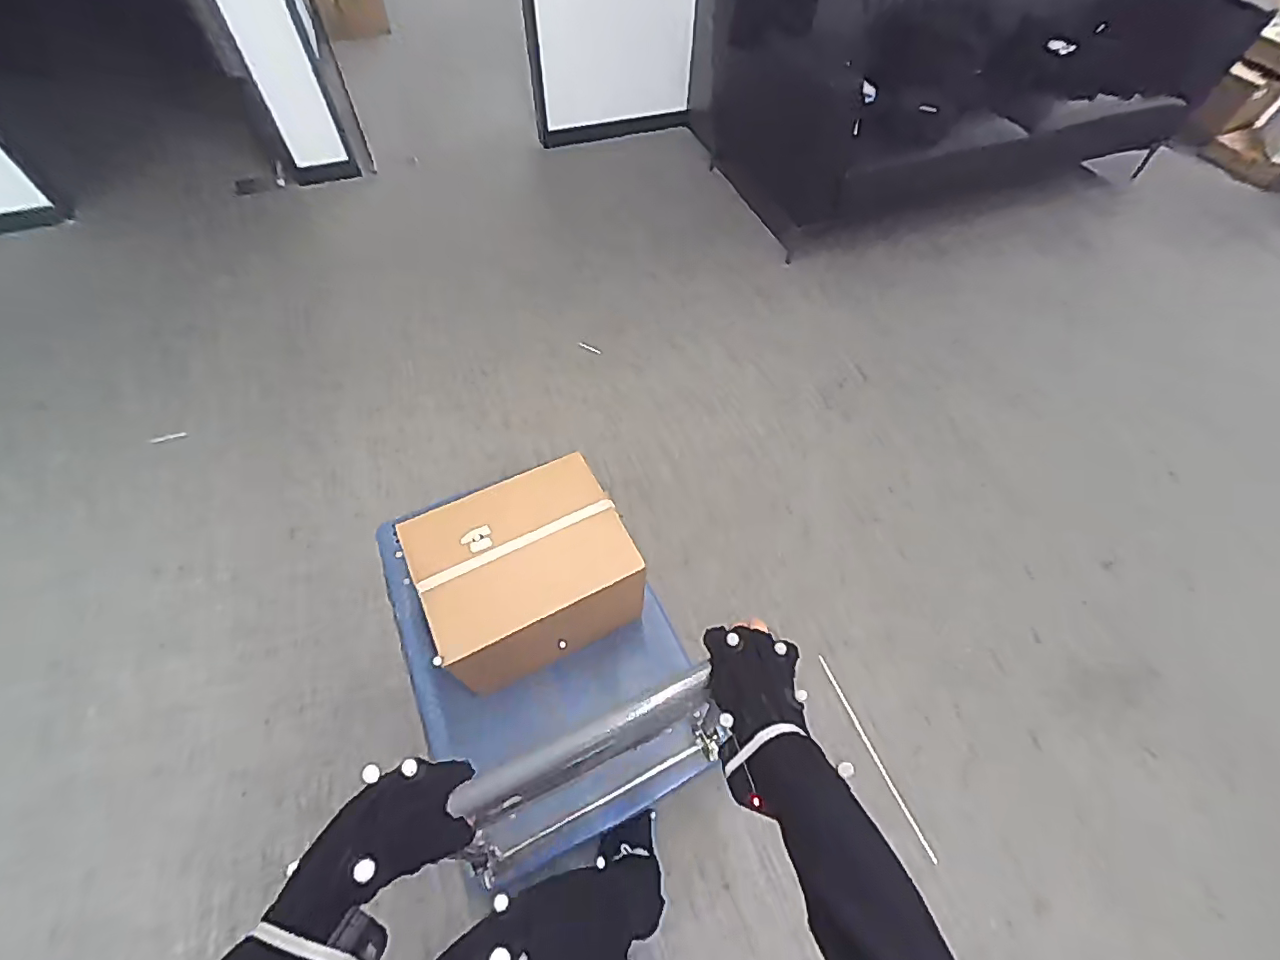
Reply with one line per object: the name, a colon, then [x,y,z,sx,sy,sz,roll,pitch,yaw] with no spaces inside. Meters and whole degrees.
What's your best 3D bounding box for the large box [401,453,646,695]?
large box: [-0.235,0.210,1.187,0.408,0.320,0.320,-24,61,-16]
